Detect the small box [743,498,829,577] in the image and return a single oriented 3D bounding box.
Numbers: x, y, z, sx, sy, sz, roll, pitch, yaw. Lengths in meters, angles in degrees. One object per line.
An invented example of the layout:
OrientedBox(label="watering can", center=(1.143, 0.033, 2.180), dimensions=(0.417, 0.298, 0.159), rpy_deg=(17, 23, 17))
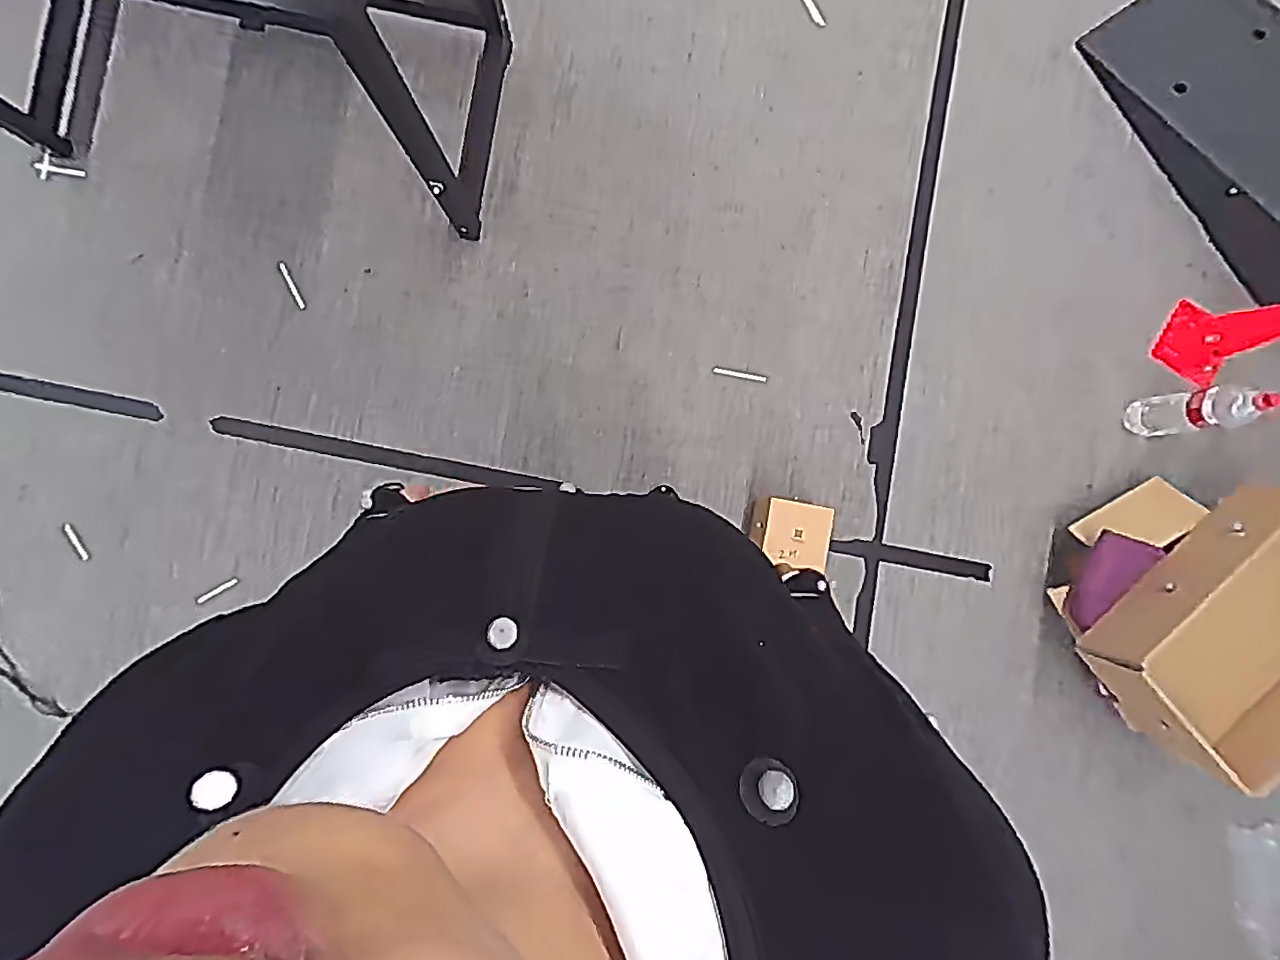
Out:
OrientedBox(label="small box", center=(0.383, 0.147, 1.441), dimensions=(0.168, 0.176, 0.179), rpy_deg=(11, 89, -1))
